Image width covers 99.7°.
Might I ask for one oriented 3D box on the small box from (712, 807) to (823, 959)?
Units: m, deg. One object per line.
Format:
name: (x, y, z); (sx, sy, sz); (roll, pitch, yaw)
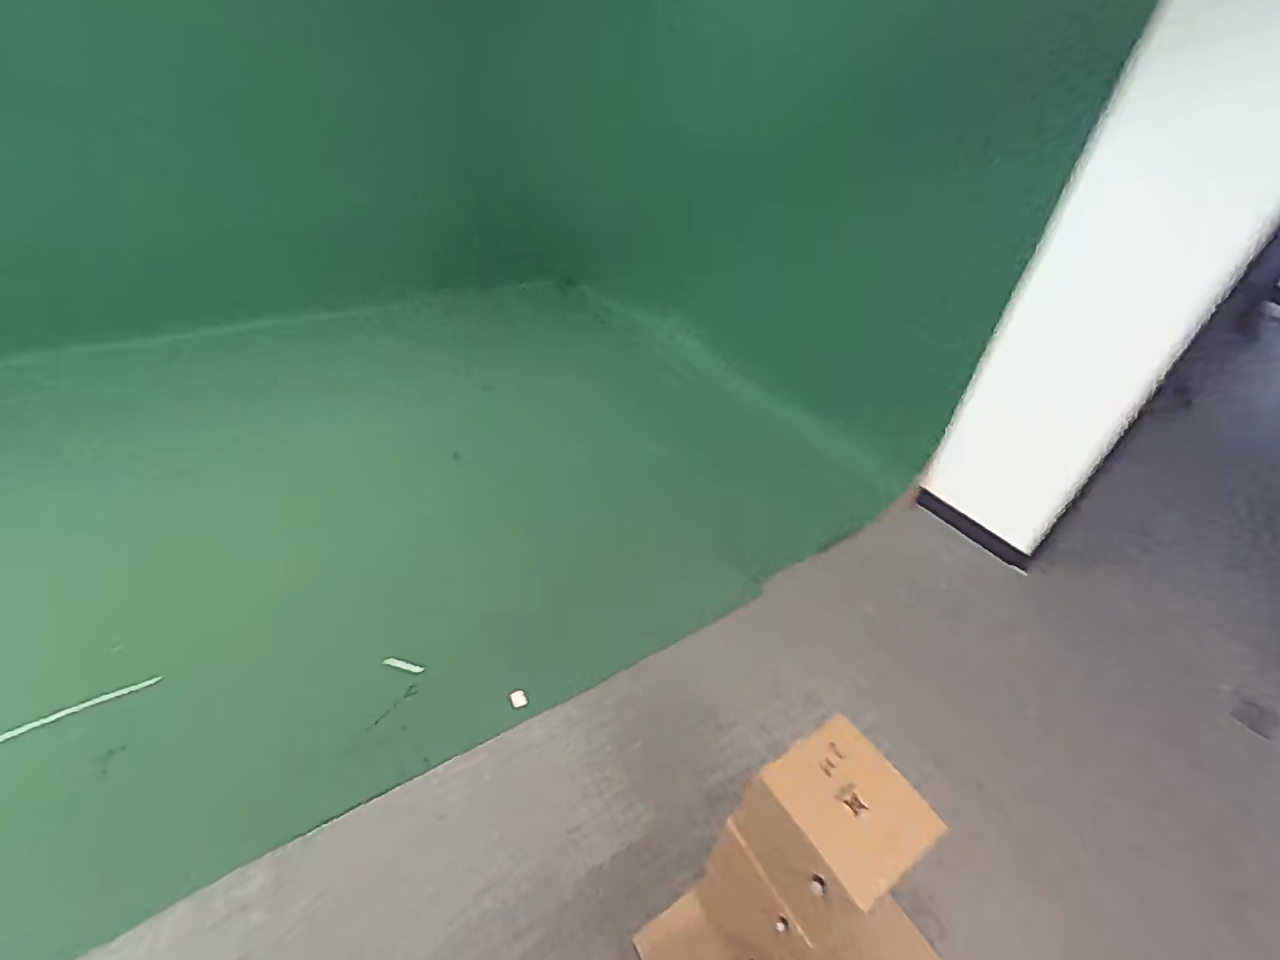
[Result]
small box: (0.233, 0.590, 0.836); (0.168, 0.176, 0.179); (-18, 45, -29)

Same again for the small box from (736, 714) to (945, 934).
small box: (0.256, 0.465, 0.730); (0.168, 0.176, 0.179); (-16, 44, -28)

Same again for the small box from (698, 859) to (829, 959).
small box: (0.221, 0.721, 0.931); (0.168, 0.176, 0.179); (-19, 44, -29)
